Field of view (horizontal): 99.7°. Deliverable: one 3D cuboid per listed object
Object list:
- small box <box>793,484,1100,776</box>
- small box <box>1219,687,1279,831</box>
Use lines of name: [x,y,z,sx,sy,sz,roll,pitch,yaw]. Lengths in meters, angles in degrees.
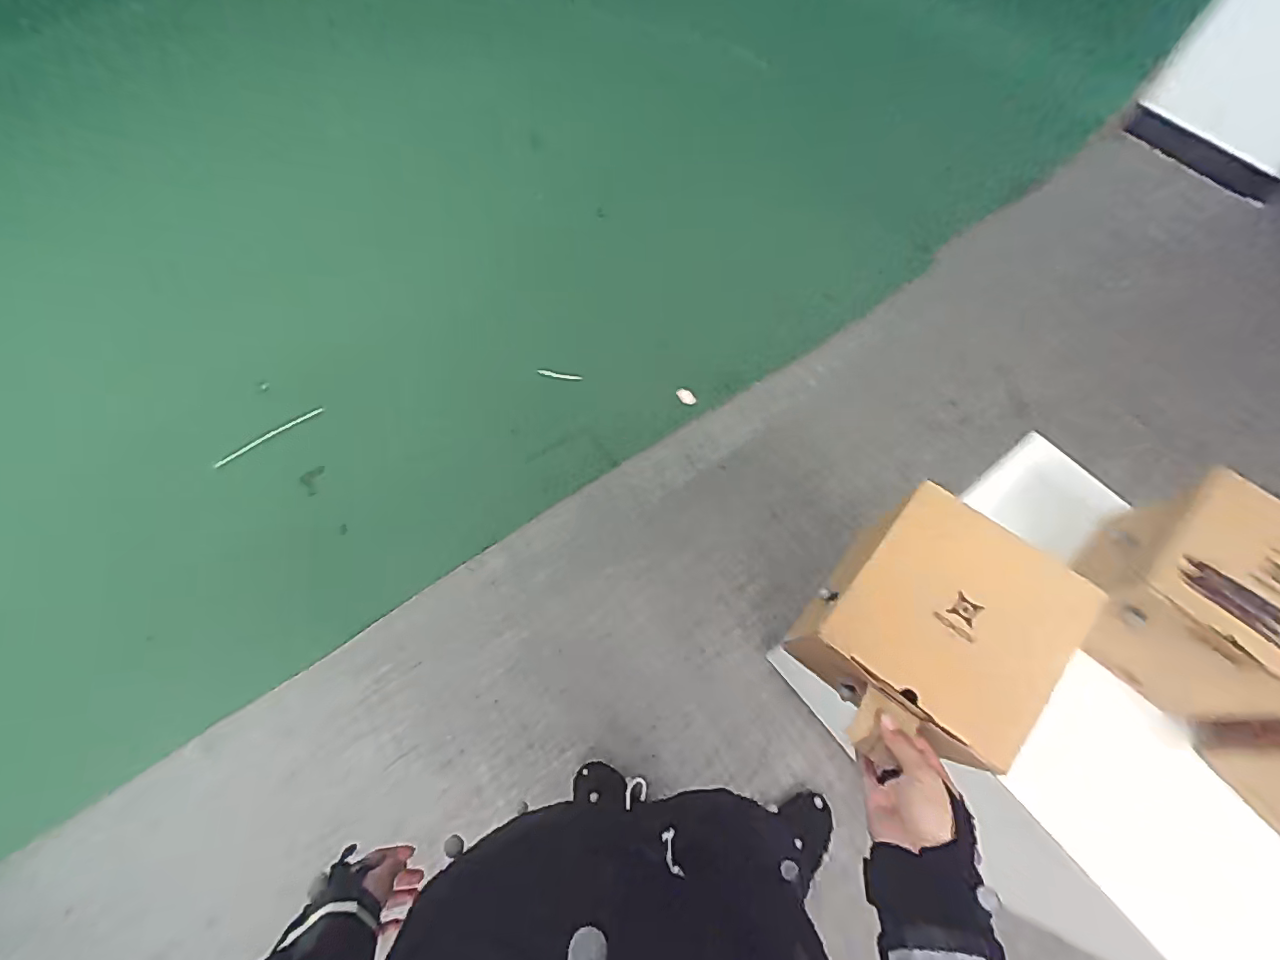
small box: [0.267,0.138,0.518,0.168,0.176,0.179,35,78,16]
small box: [0.724,0.292,0.504,0.179,0.176,0.168,-32,69,-12]
